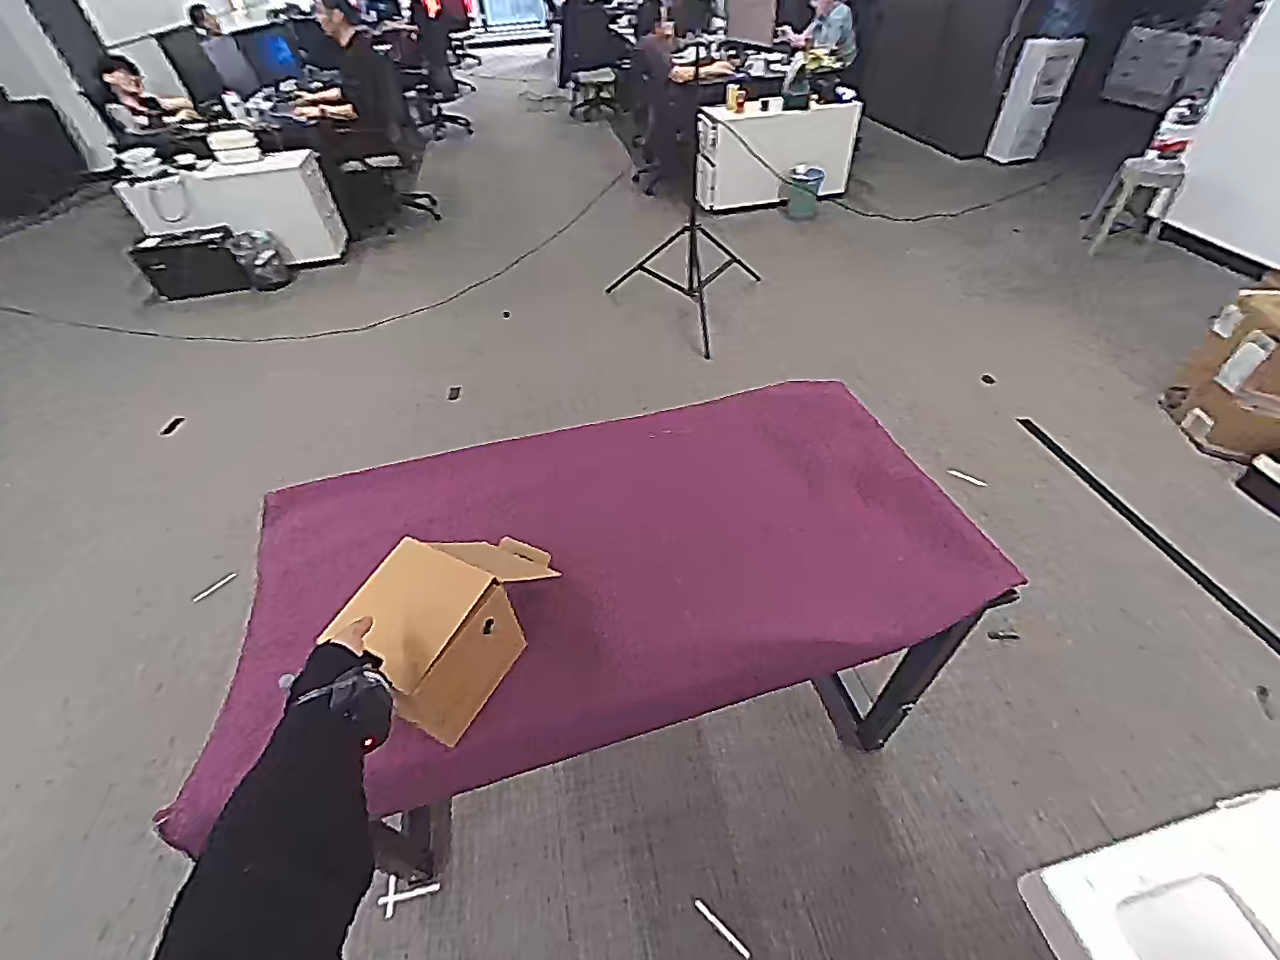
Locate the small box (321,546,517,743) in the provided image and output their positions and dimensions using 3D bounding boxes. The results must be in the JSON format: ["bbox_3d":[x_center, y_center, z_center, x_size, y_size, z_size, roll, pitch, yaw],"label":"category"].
[{"bbox_3d":[-0.293,0.230,0.764,0.168,0.176,0.179,17,49,22],"label":"small box"}]
